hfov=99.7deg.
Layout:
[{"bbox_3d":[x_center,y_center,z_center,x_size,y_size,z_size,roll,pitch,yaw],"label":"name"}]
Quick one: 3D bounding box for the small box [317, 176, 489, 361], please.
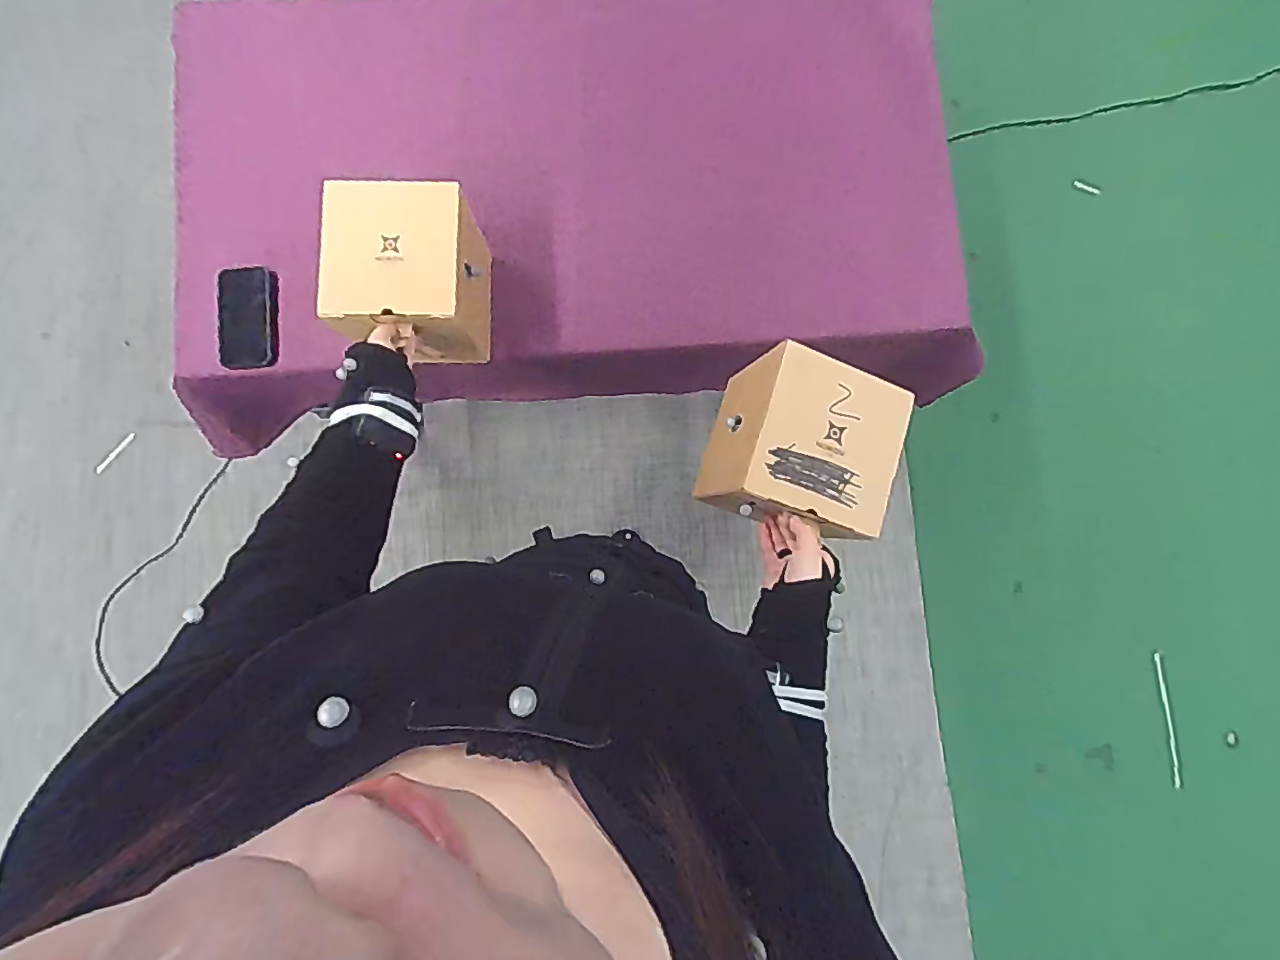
[{"bbox_3d":[-0.306,-0.275,0.733,0.168,0.176,0.179,0,84,-3],"label":"small box"}]
